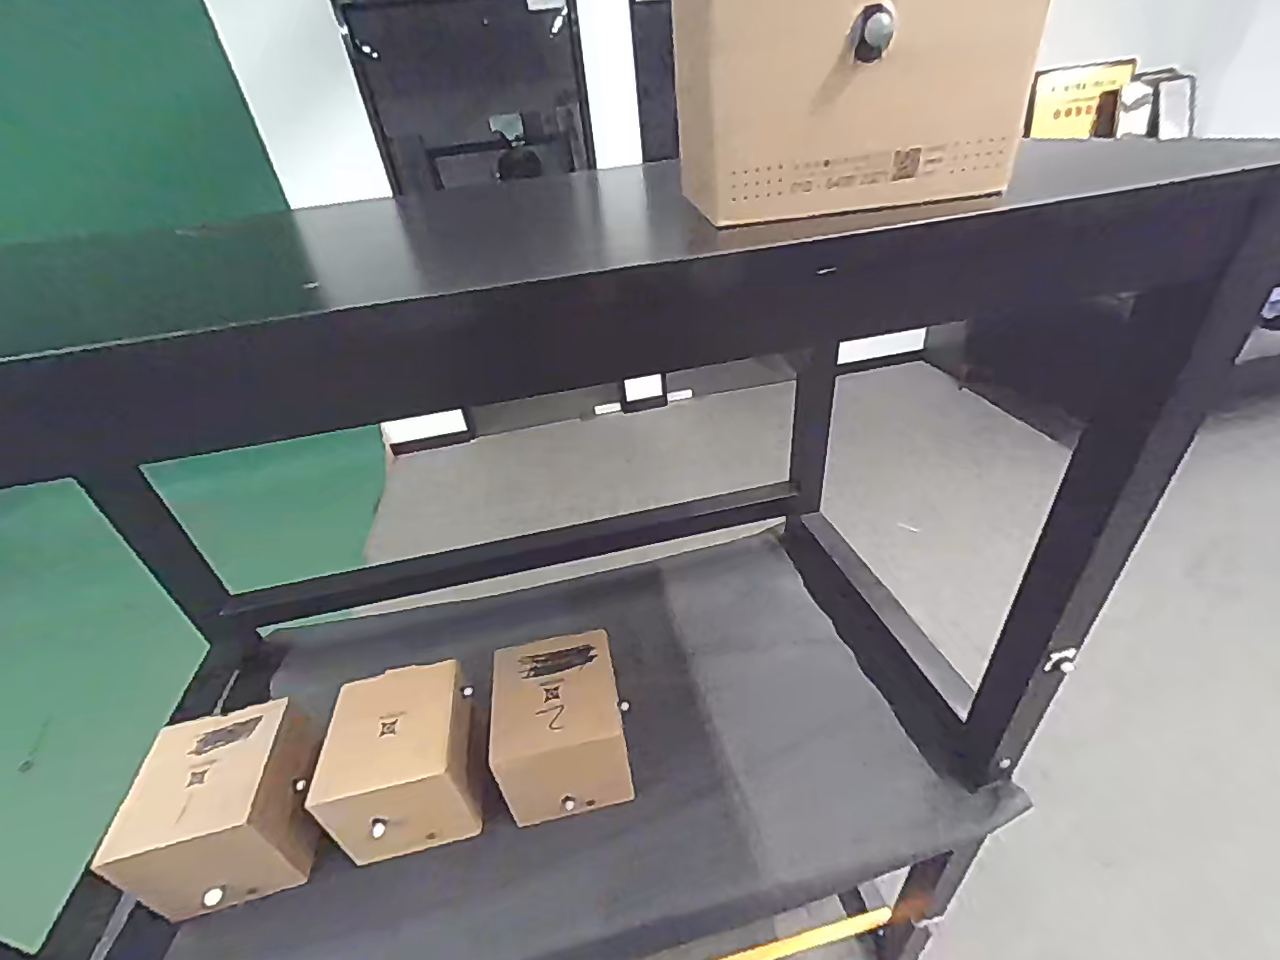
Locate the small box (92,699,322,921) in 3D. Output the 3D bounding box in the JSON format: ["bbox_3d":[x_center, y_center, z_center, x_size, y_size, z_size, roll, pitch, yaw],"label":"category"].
[{"bbox_3d":[-0.542,0.435,0.722,0.168,0.176,0.179,-12,34,-8],"label":"small box"}]

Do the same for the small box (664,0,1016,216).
[{"bbox_3d":[0.106,-0.269,0.335,0.168,0.176,0.179,-6,33,1],"label":"small box"}]

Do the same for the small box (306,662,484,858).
[{"bbox_3d":[-0.321,0.391,0.753,0.168,0.176,0.179,-10,33,-7],"label":"small box"}]
